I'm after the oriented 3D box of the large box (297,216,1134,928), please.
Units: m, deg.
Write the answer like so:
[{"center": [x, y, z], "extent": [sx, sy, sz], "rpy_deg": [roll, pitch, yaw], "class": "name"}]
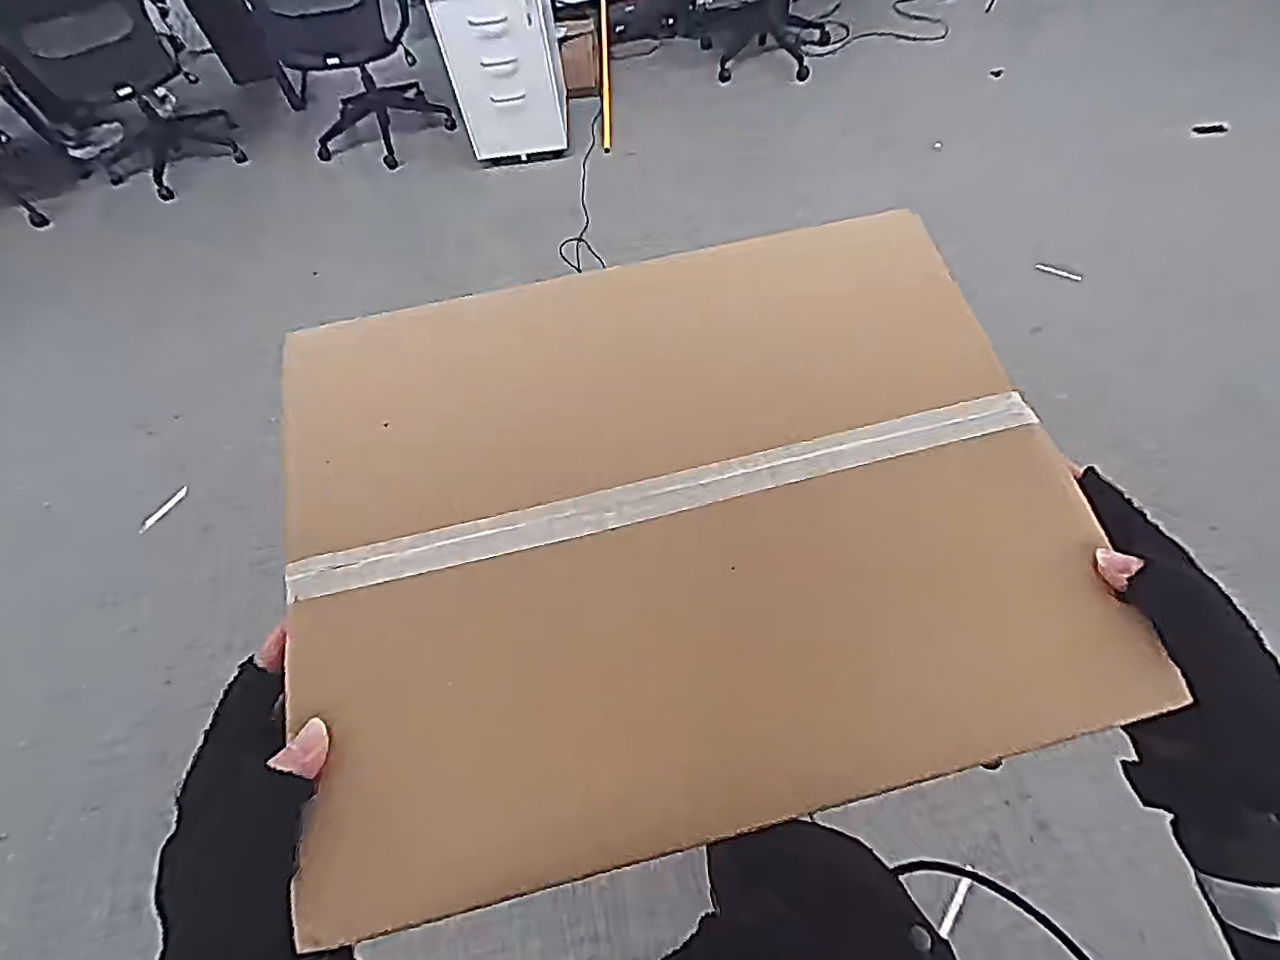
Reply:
[{"center": [0.021, 0.058, 0.439], "extent": [0.408, 0.320, 0.320], "rpy_deg": [-14, 70, -4], "class": "large box"}]
